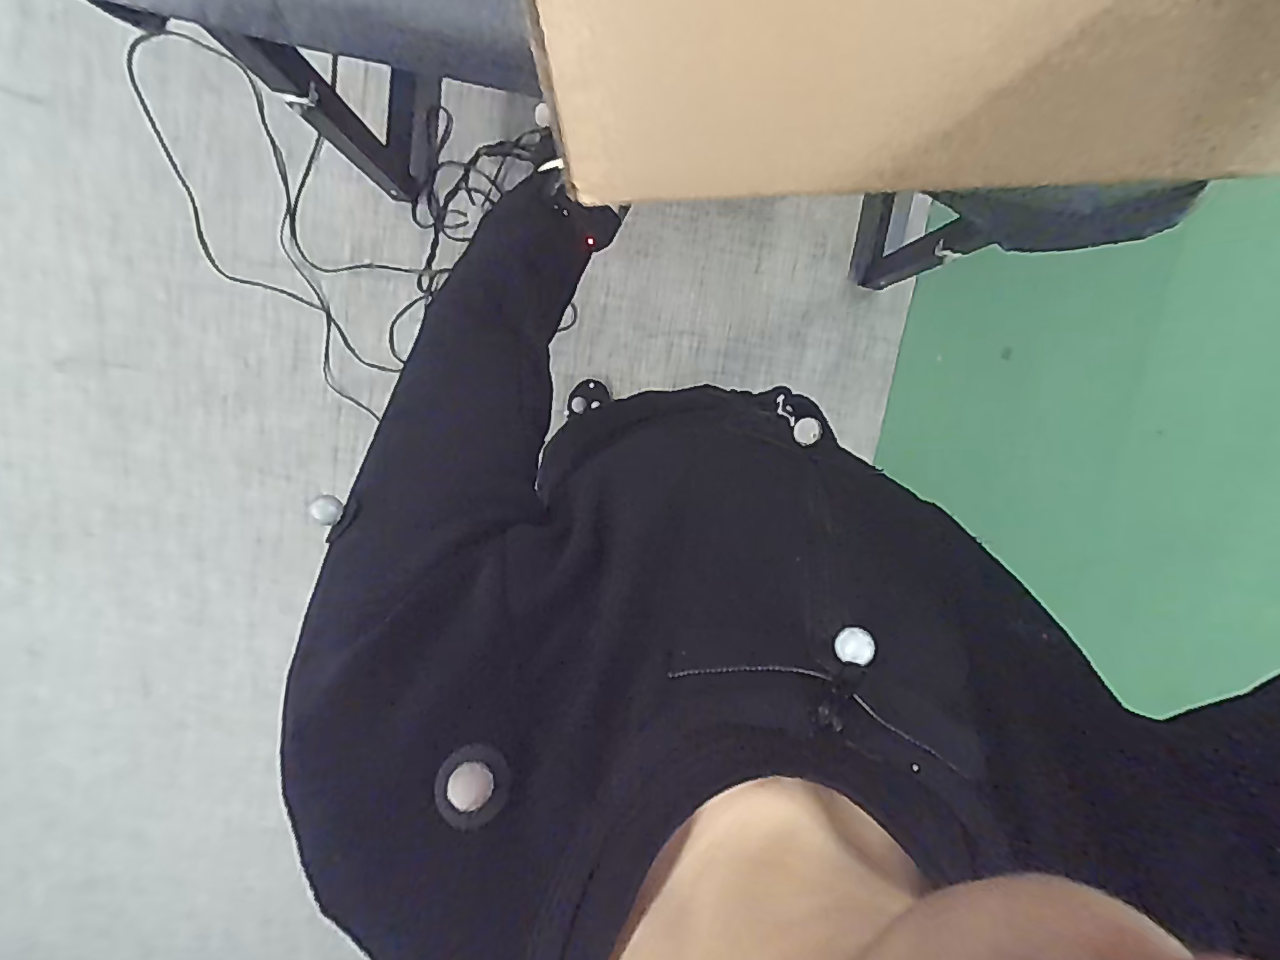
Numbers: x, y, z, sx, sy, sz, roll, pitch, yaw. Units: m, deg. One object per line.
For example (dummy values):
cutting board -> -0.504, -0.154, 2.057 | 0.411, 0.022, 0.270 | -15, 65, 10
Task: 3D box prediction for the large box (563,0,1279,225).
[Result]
large box -> 0.171, -0.346, 0.228 | 0.408, 0.320, 0.320 | 0, 142, 10
